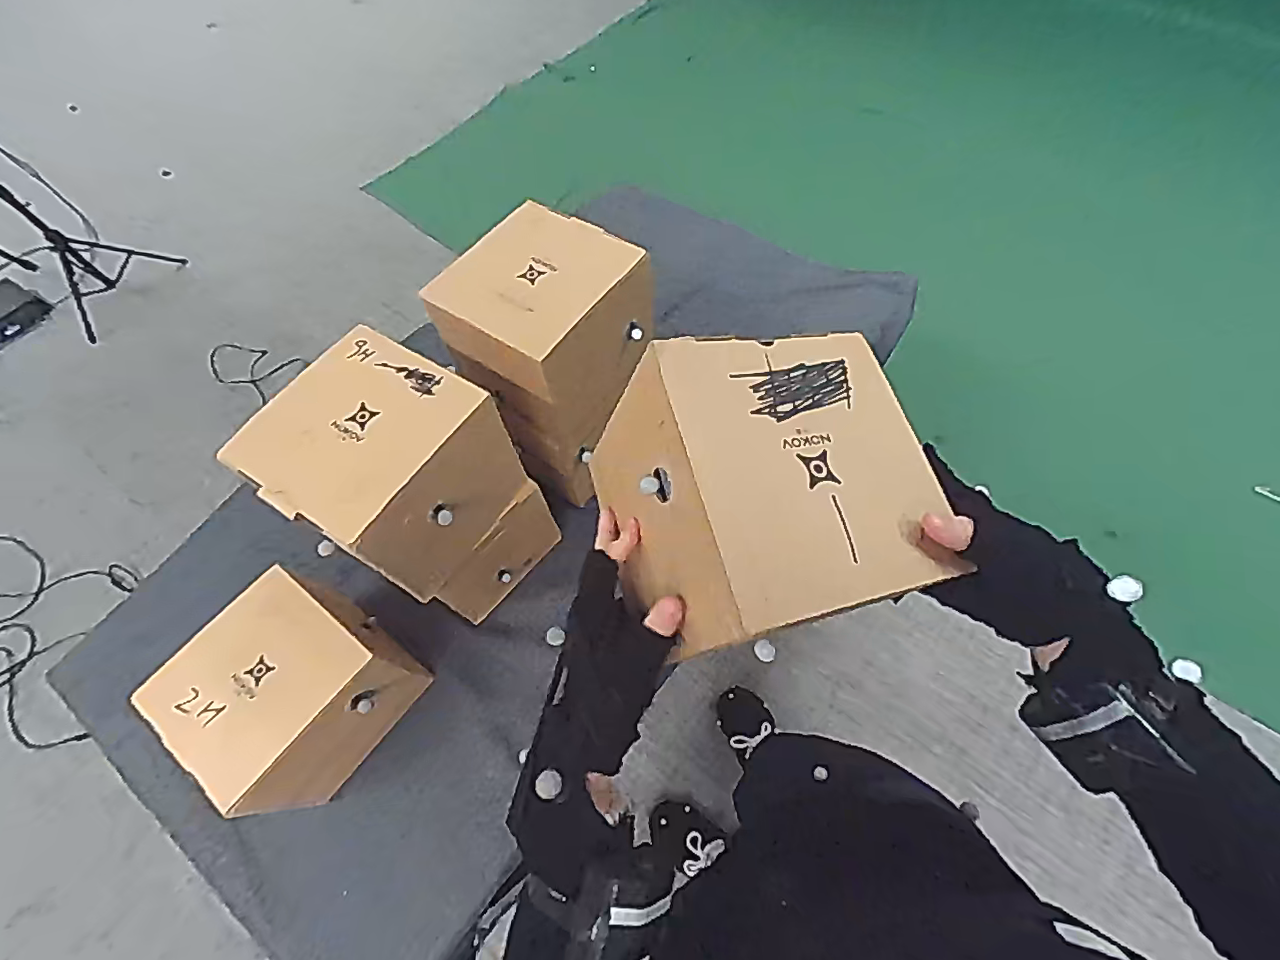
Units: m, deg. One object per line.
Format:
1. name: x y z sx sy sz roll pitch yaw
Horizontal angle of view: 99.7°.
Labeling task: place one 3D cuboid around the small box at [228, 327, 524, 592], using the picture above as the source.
1. small box: -0.241 -0.011 0.547 0.168 0.176 0.179 29 68 15
